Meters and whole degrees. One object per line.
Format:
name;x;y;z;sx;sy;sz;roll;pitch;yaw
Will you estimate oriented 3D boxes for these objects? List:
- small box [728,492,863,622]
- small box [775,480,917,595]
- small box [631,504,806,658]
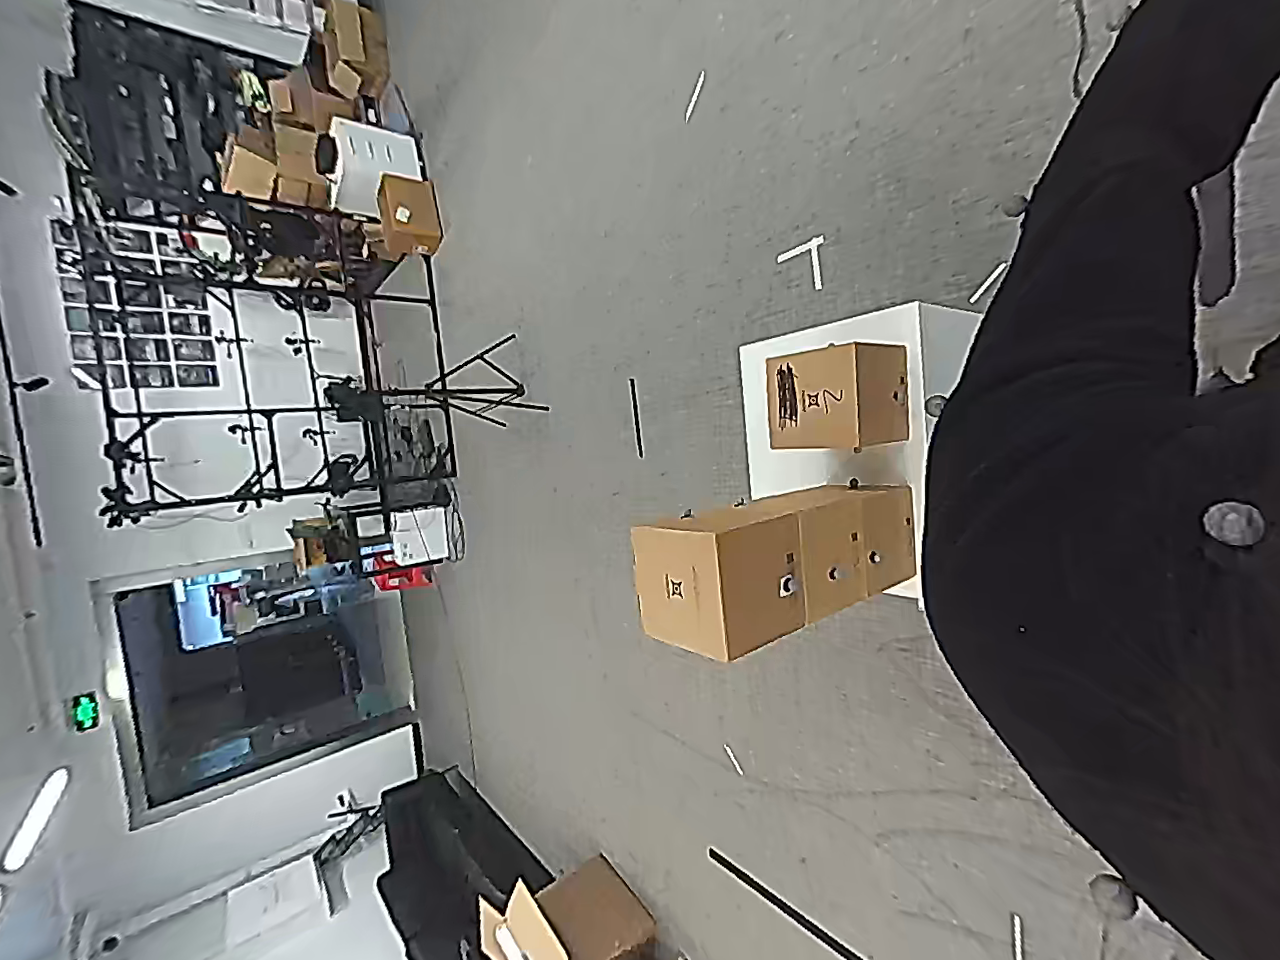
small box;0.240;0.111;0.867;0.179;0.176;0.168;-1;96;53
small box;0.367;0.092;0.967;0.179;0.176;0.168;1;98;53
small box;0.110;0.129;0.770;0.179;0.176;0.168;-2;96;52
